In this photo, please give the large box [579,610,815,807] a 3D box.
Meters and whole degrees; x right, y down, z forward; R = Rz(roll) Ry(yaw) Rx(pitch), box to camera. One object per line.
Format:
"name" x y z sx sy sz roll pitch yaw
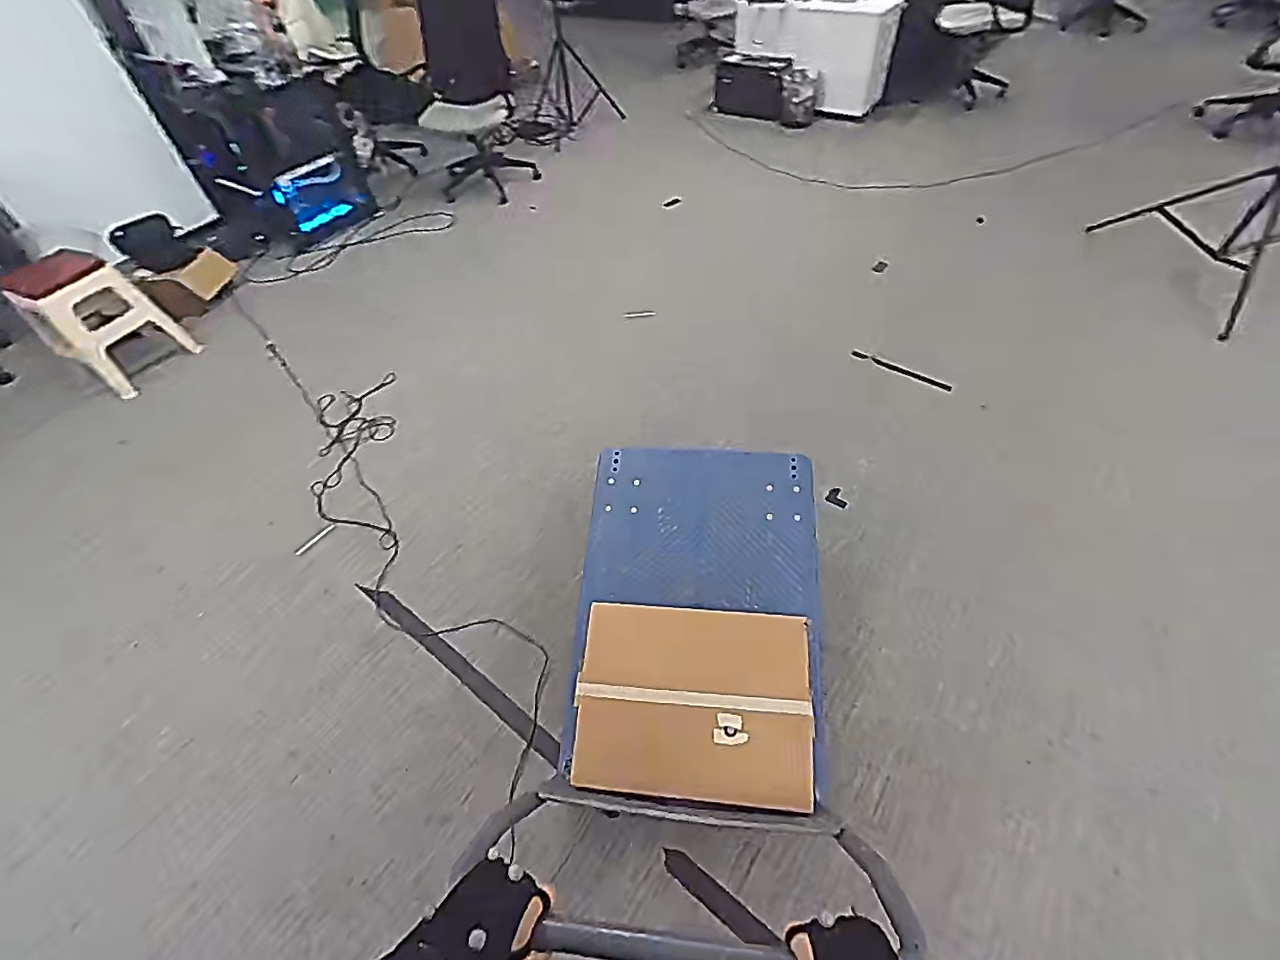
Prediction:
"large box" 0.109 0.457 1.099 0.408 0.320 0.320 1 66 6
